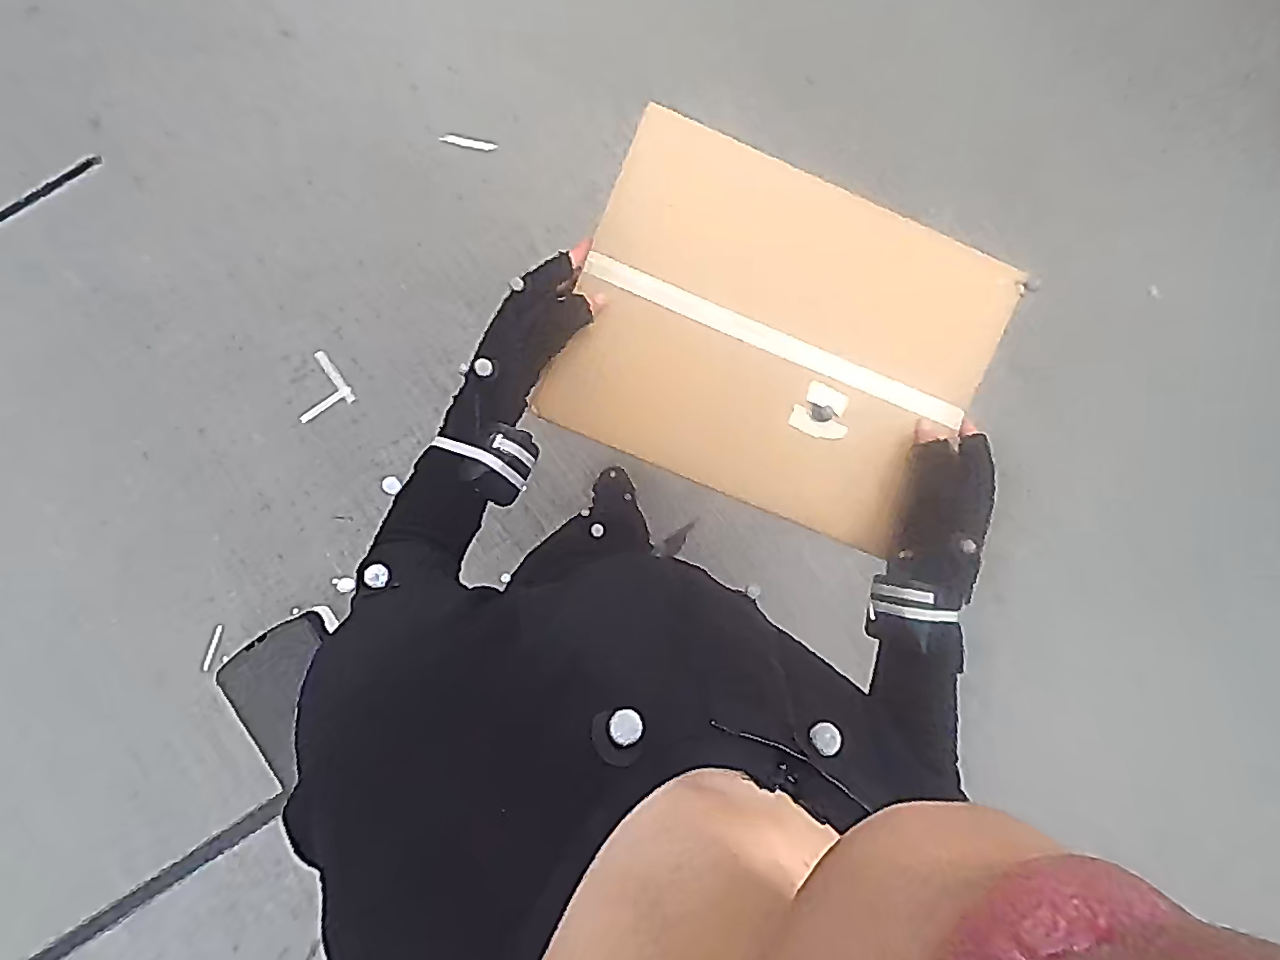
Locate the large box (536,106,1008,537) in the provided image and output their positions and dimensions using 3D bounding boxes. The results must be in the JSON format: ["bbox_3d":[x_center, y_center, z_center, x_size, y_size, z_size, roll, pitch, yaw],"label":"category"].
[{"bbox_3d":[0.124,-0.162,0.683,0.408,0.320,0.320,21,96,-4],"label":"large box"}]
